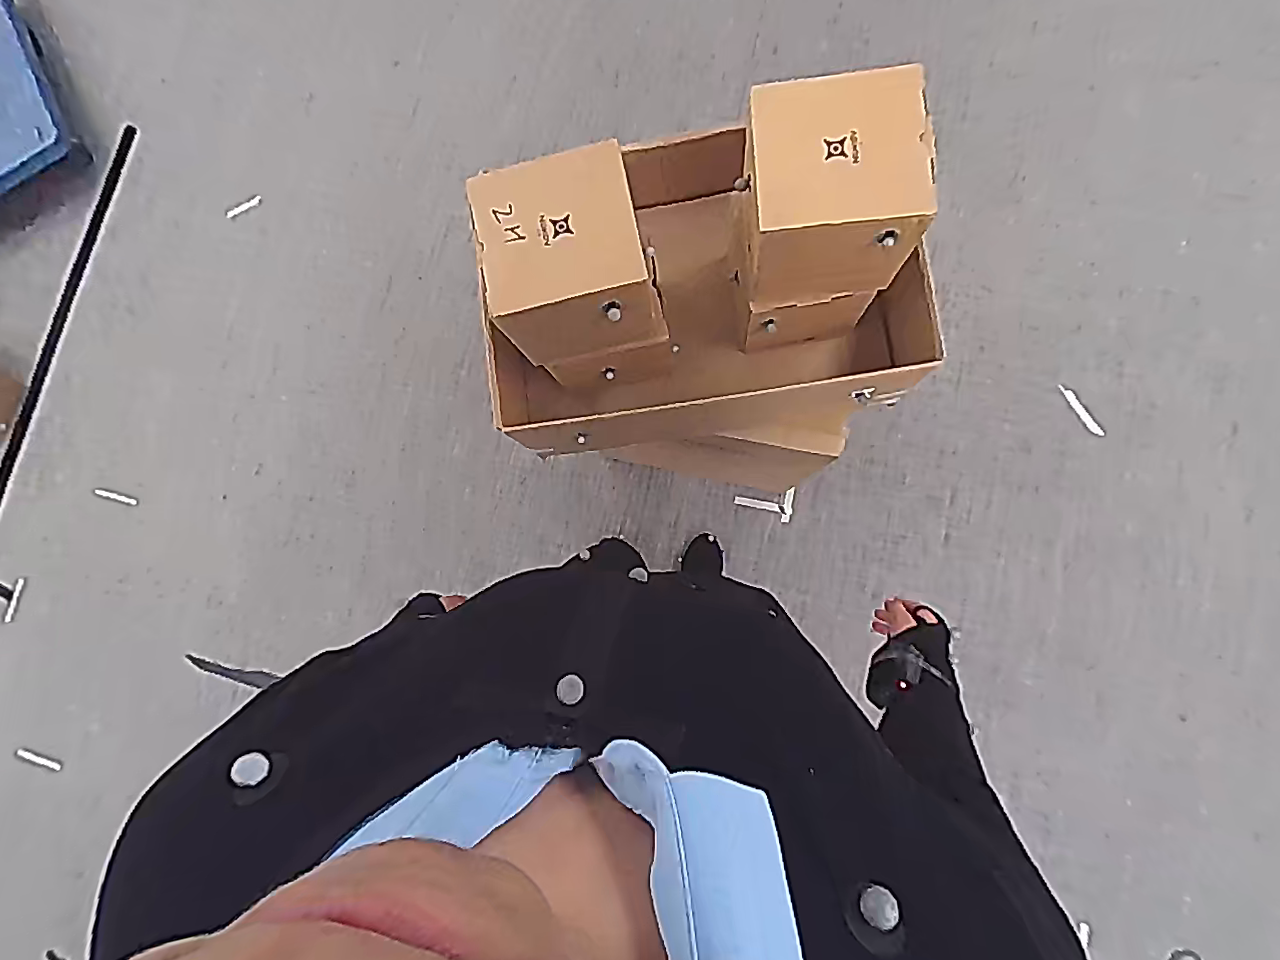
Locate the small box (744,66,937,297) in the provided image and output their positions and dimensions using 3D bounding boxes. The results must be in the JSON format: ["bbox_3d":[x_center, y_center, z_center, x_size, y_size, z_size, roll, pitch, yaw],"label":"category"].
[{"bbox_3d":[0.215,-0.329,0.631,0.179,0.176,0.168,-3,84,6],"label":"small box"}]

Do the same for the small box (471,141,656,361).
[{"bbox_3d":[-0.080,-0.261,0.656,0.179,0.176,0.168,-12,83,5],"label":"small box"}]
